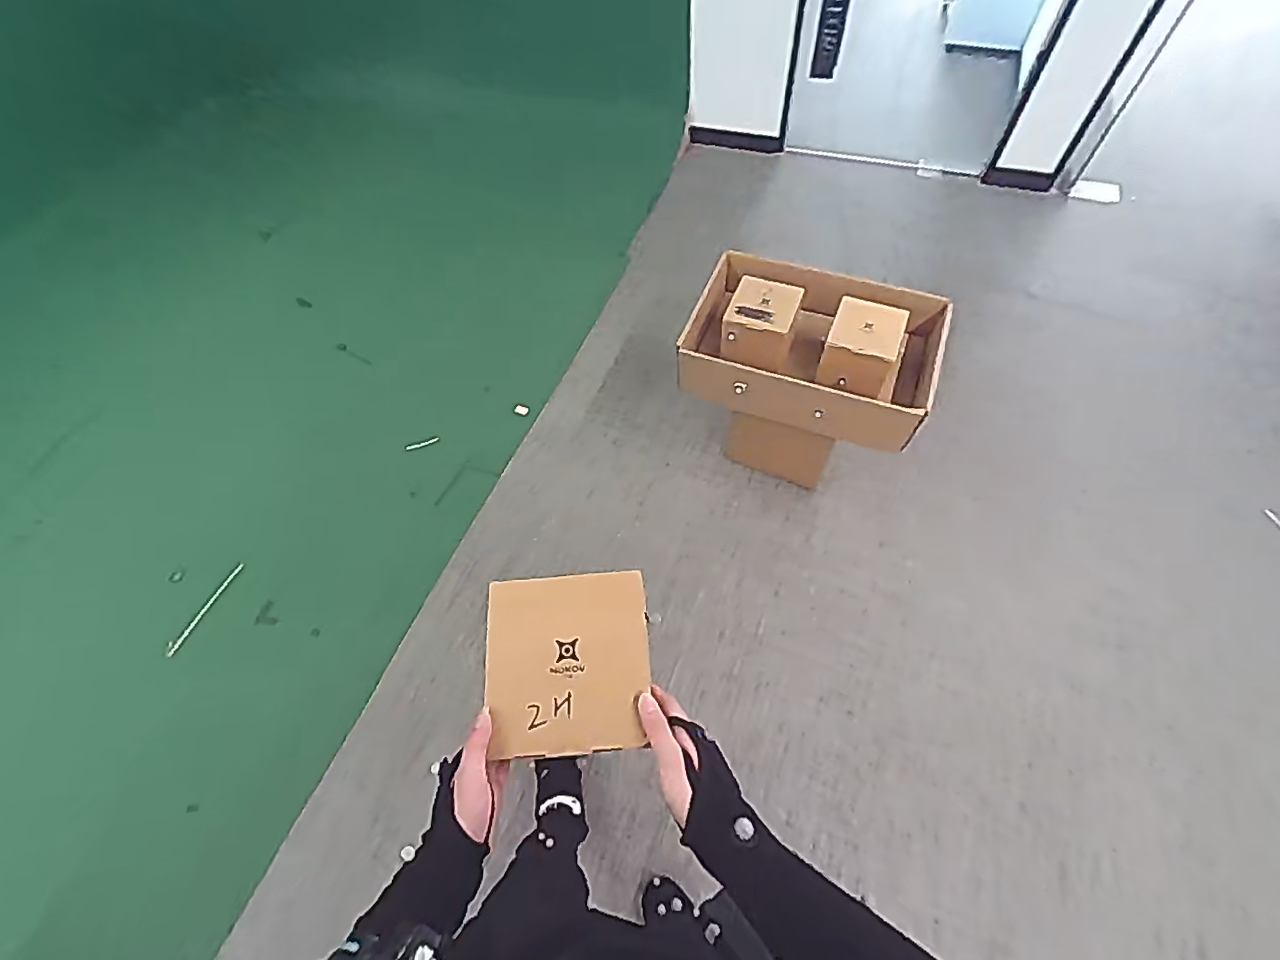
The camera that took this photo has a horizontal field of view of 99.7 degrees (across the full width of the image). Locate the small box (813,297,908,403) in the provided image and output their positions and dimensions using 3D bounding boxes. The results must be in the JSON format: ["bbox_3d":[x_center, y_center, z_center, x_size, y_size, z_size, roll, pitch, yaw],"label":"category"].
[{"bbox_3d":[0.558,-0.331,1.387,0.168,0.176,0.179,20,64,14],"label":"small box"}]

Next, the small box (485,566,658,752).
[{"bbox_3d":[-0.068,0.208,0.615,0.168,0.176,0.179,-3,65,0],"label":"small box"}]
